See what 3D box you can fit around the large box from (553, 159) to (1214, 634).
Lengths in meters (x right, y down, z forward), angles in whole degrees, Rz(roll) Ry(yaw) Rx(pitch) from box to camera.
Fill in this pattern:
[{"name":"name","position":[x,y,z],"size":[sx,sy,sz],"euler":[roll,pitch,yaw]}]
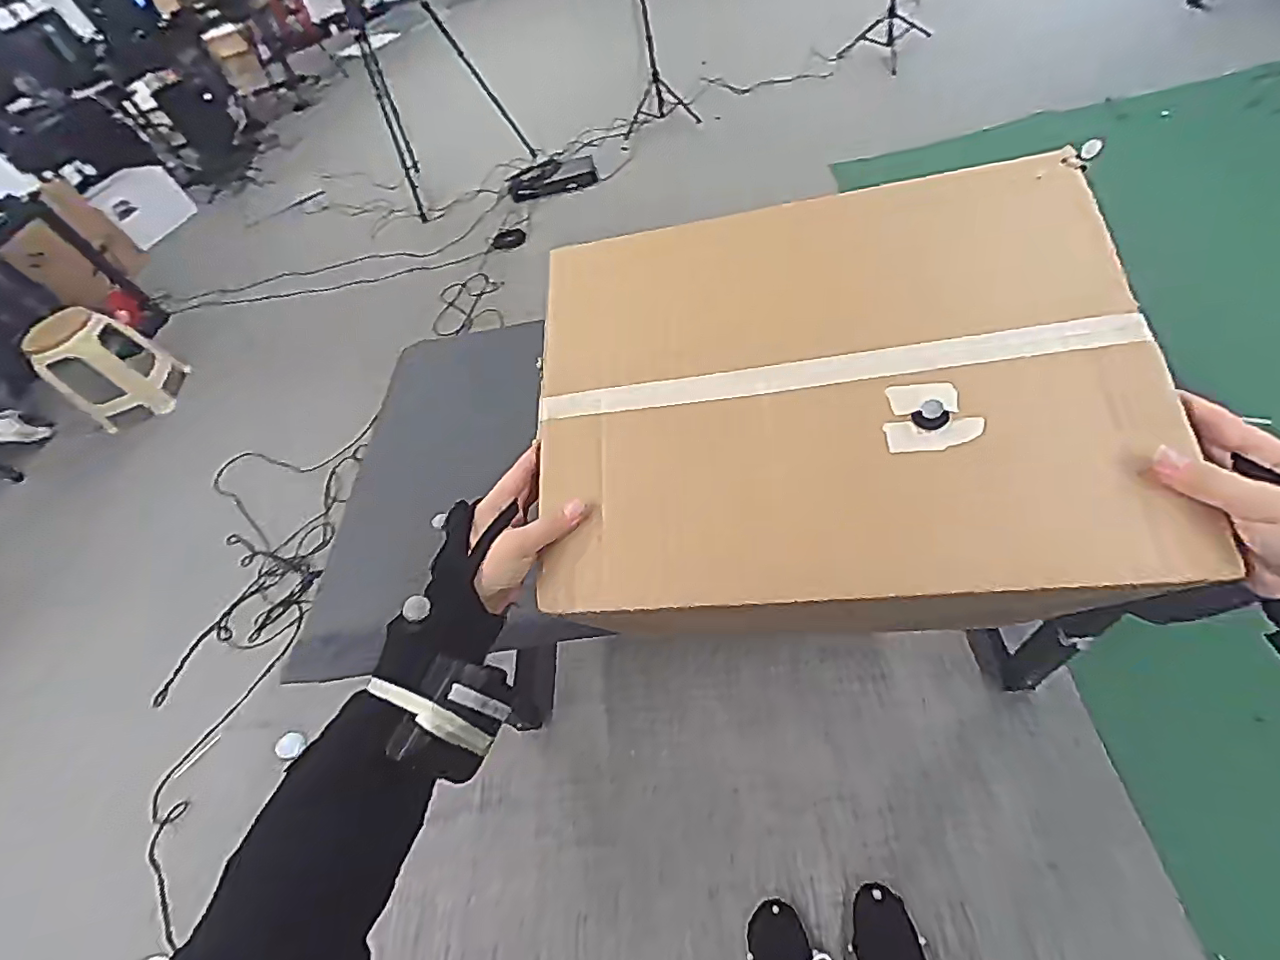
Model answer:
[{"name":"large box","position":[0.157,-0.030,0.528],"size":[0.408,0.320,0.320],"euler":[-6,70,11]}]
